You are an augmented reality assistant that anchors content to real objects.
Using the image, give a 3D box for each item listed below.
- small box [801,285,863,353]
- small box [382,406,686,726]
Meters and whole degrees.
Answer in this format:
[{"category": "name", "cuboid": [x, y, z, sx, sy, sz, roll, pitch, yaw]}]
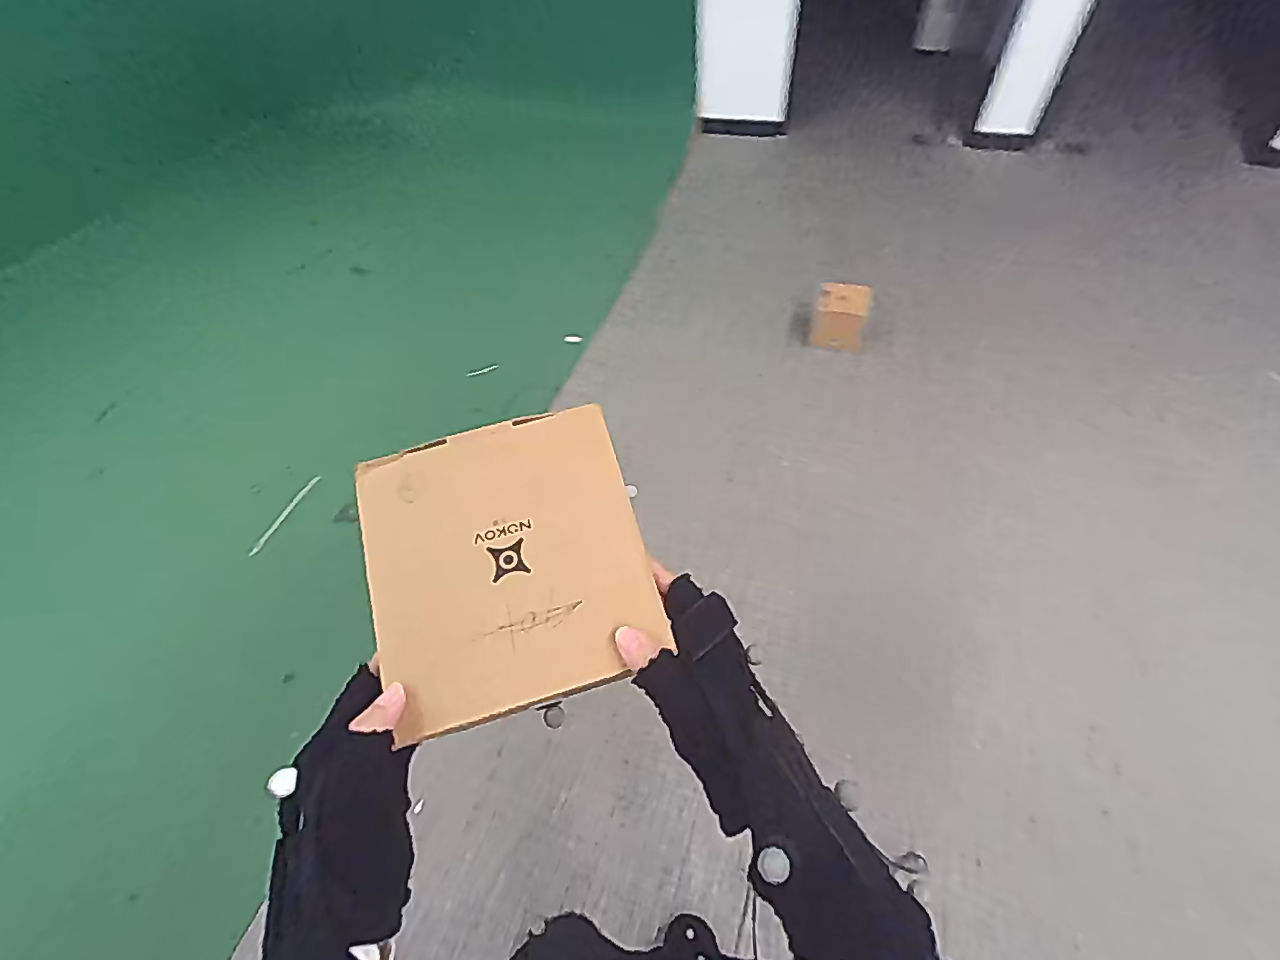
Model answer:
[{"category": "small box", "cuboid": [0.706, -0.590, 1.996, 0.179, 0.176, 0.168, 13, 57, 14]}, {"category": "small box", "cuboid": [-0.075, 0.073, 0.414, 0.168, 0.176, 0.179, -14, 70, -7]}]
